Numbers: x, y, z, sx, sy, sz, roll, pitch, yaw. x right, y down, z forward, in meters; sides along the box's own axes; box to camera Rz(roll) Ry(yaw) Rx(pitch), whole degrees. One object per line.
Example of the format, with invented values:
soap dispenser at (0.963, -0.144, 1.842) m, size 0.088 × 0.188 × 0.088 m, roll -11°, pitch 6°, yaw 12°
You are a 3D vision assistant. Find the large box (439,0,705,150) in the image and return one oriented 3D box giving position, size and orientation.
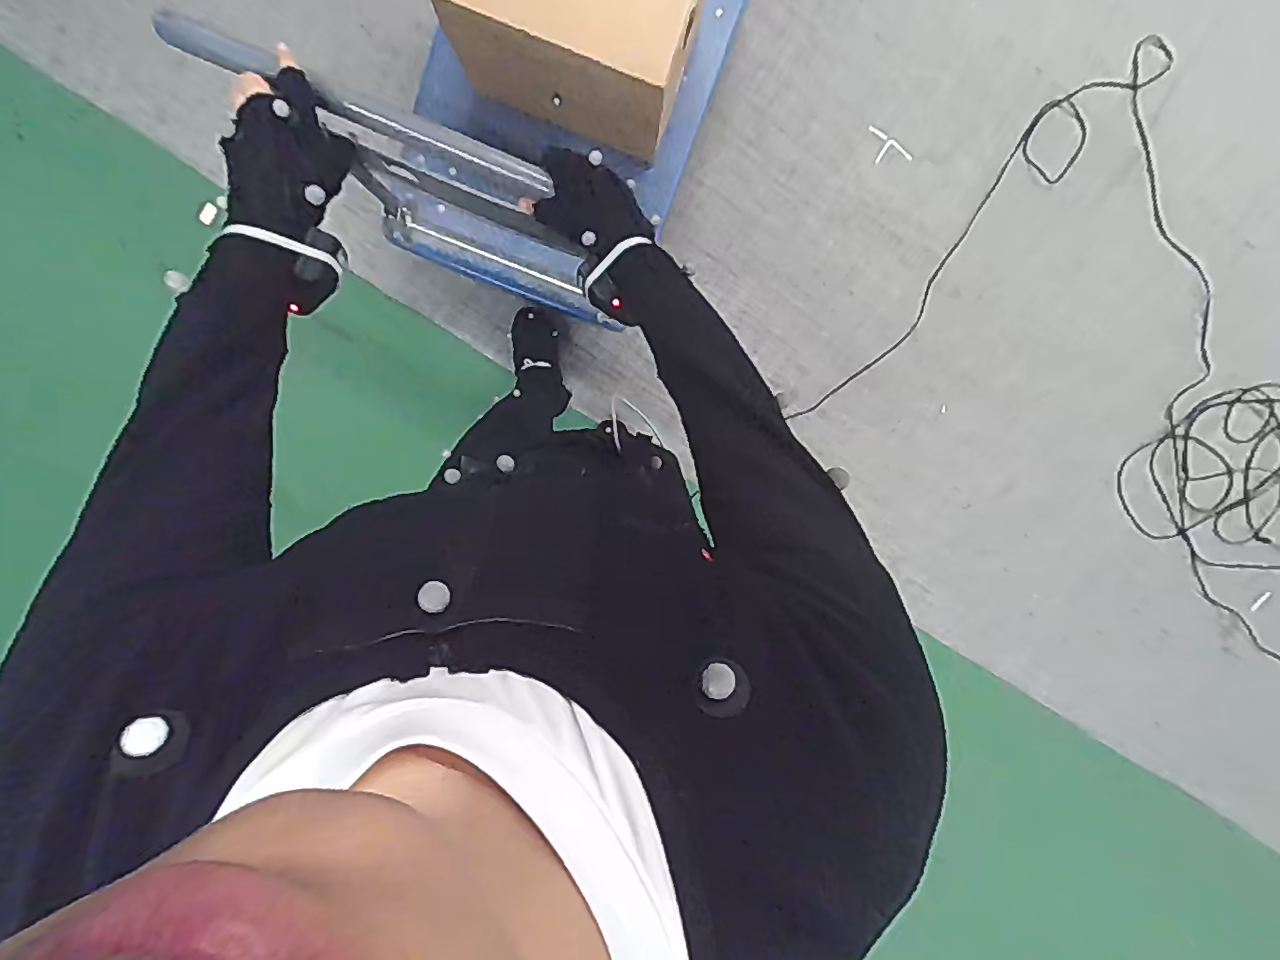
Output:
large box at (-0.095, -0.882, 0.987) m, size 0.408 × 0.320 × 0.320 m, roll 19°, pitch 99°, yaw -5°
